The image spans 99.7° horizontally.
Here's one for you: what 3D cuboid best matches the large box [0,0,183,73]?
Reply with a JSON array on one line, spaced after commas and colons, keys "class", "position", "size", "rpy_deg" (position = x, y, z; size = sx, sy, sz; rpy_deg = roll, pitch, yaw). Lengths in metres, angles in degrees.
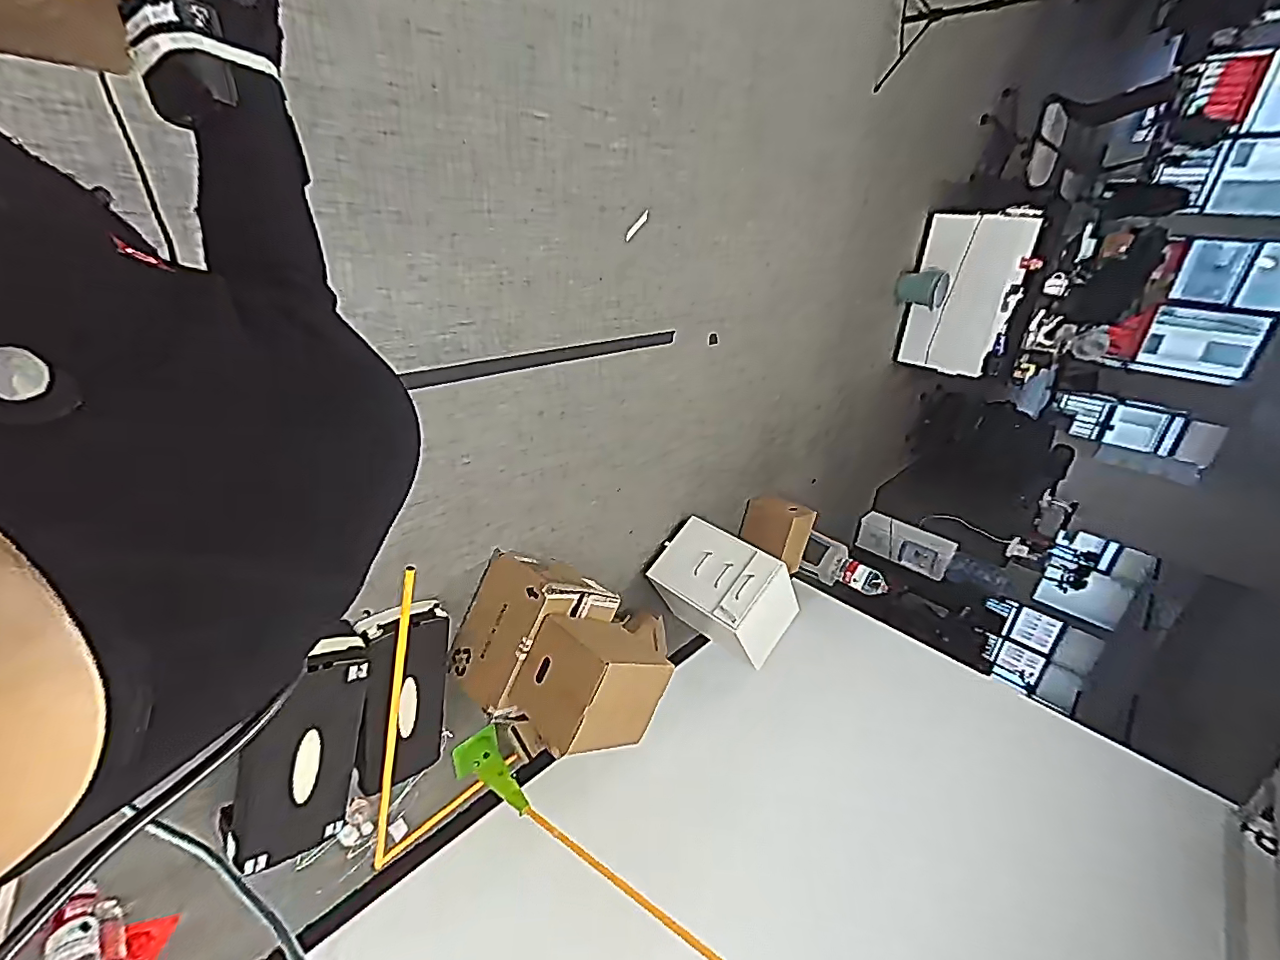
[{"class": "large box", "position": [-0.564, -0.465, 0.282], "size": [0.408, 0.320, 0.320], "rpy_deg": [-22, 124, -43]}]
